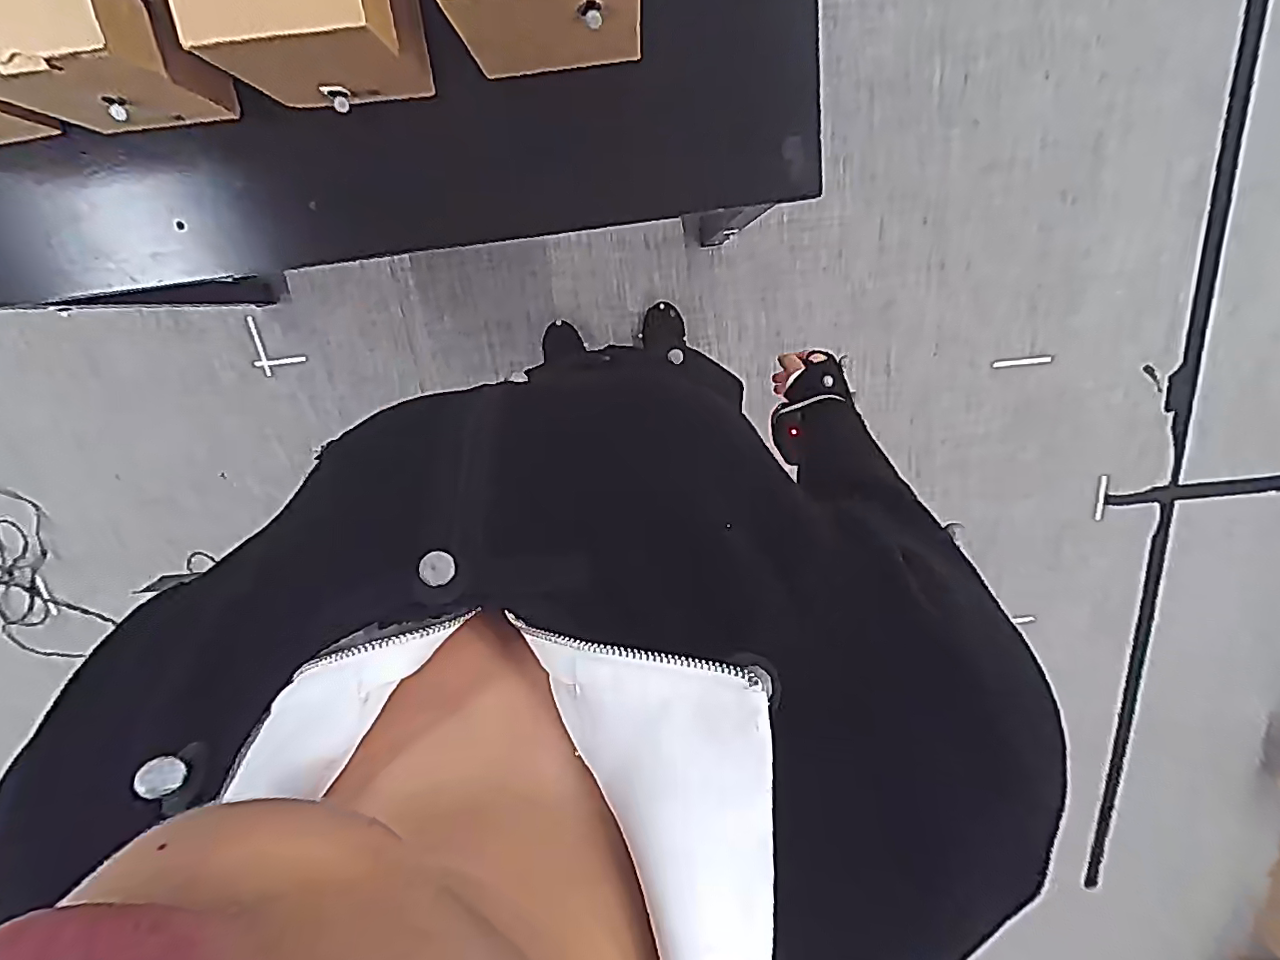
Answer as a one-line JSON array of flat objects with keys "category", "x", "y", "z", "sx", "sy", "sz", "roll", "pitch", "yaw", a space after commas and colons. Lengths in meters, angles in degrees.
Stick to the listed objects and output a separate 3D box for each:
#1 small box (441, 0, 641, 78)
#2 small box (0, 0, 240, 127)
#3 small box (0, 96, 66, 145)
[{"category": "small box", "x": -0.093, "y": -0.516, "z": 0.514, "sx": 0.179, "sy": 0.176, "sz": 0.168, "roll": -6, "pitch": 107, "yaw": 1}, {"category": "small box", "x": -0.542, "y": -0.468, "z": 0.527, "sx": 0.168, "sy": 0.176, "sz": 0.179, "roll": -6, "pitch": 108, "yaw": 2}, {"category": "small box", "x": -0.756, "y": -0.443, "z": 0.532, "sx": 0.179, "sy": 0.176, "sz": 0.168, "roll": -9, "pitch": 108, "yaw": 1}]
